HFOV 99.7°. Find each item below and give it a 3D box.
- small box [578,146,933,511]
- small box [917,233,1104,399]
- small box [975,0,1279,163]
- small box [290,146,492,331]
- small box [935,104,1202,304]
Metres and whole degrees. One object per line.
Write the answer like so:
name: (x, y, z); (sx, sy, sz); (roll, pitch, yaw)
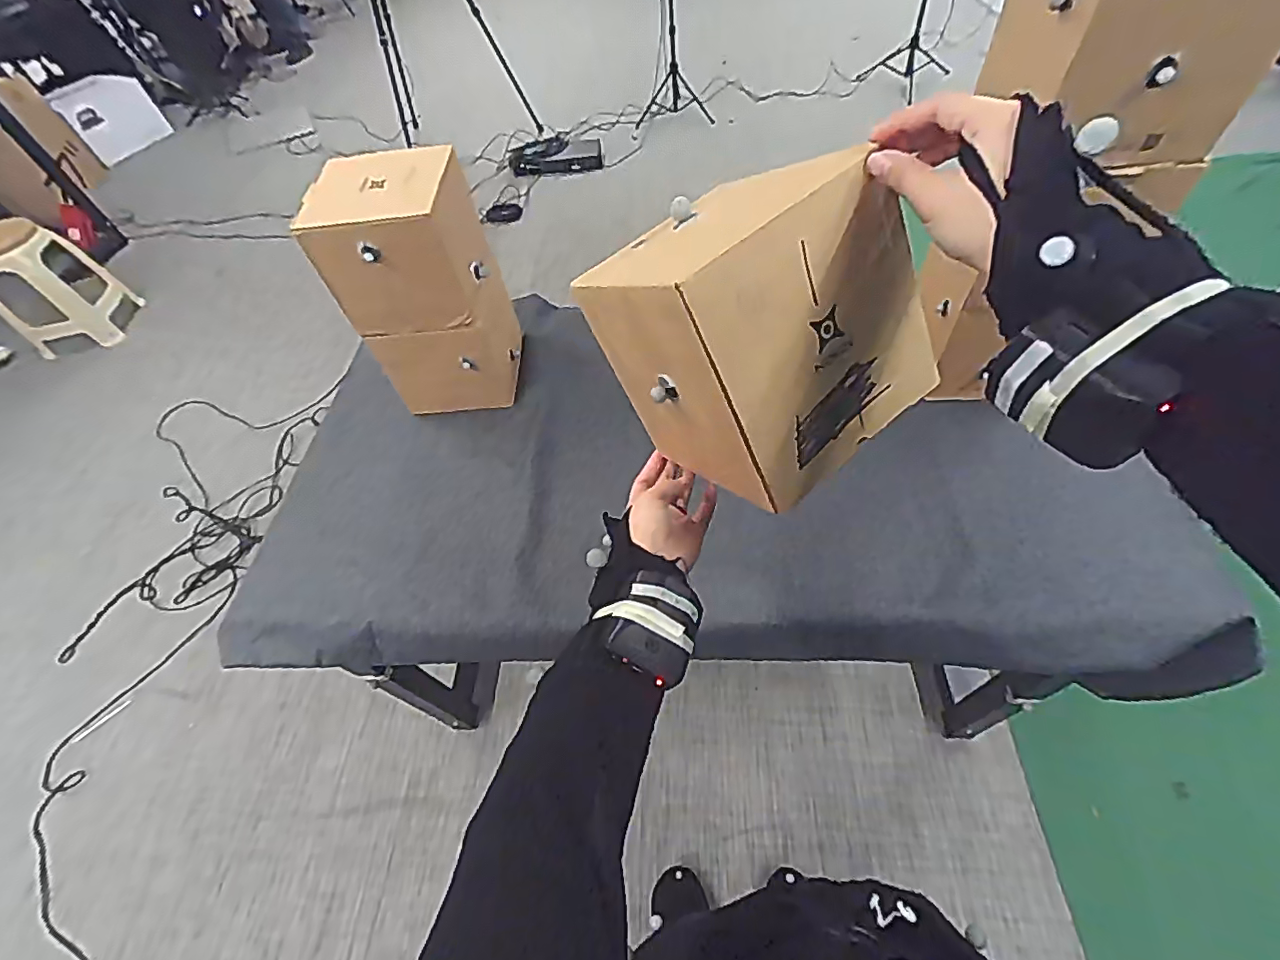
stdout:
small box: (0.081, -0.112, 0.412); (0.168, 0.179, 0.176); (-37, 30, -12)
small box: (0.496, -0.236, 0.775); (0.168, 0.176, 0.179); (0, 56, 8)
small box: (0.450, -0.418, 0.504); (0.168, 0.176, 0.179); (-1, 56, 7)
small box: (-0.321, -0.321, 0.738); (0.179, 0.176, 0.168); (-4, 57, 3)
small box: (0.475, -0.325, 0.639); (0.168, 0.176, 0.179); (1, 57, 8)
